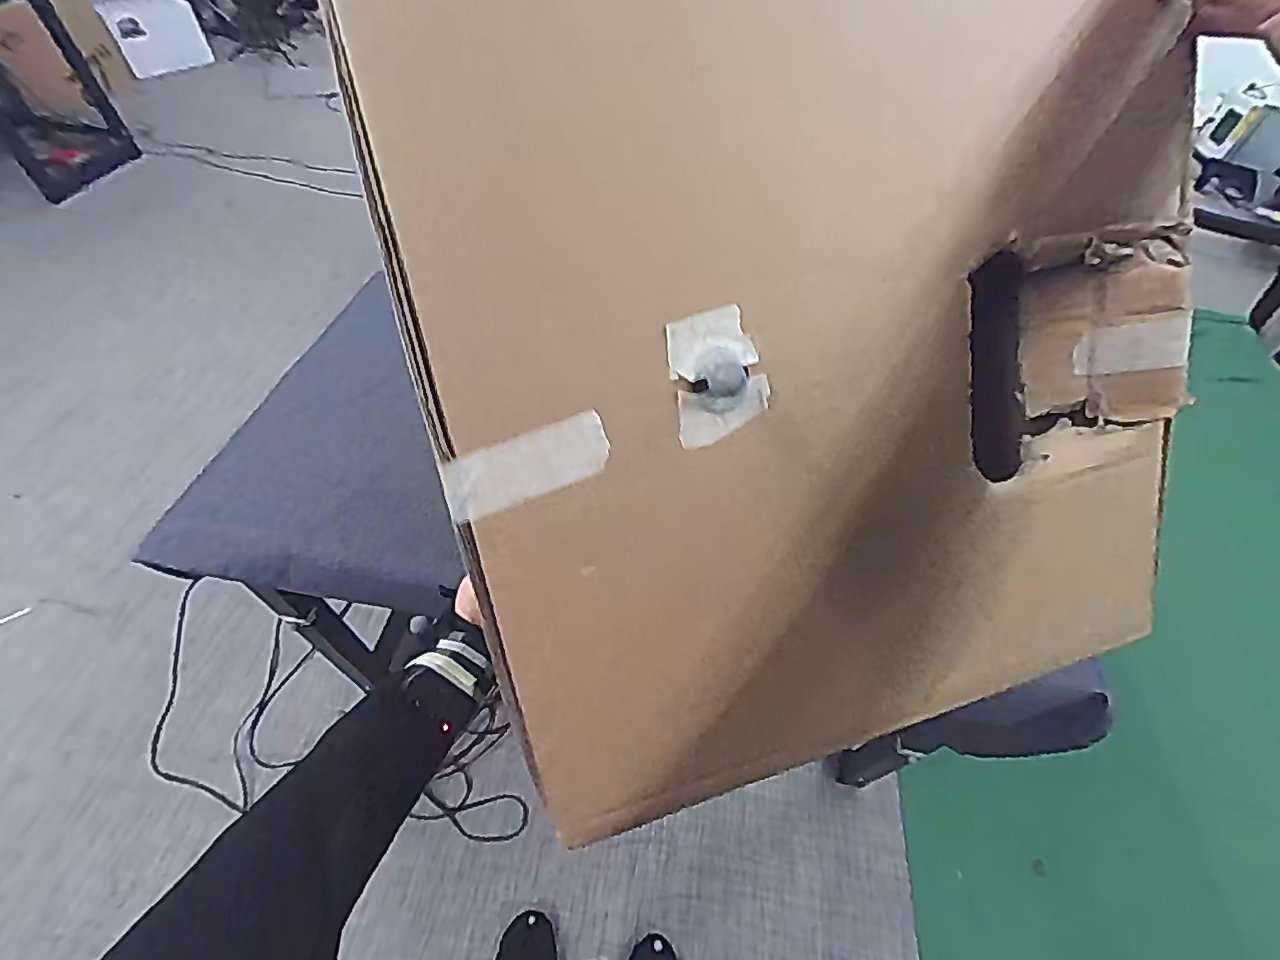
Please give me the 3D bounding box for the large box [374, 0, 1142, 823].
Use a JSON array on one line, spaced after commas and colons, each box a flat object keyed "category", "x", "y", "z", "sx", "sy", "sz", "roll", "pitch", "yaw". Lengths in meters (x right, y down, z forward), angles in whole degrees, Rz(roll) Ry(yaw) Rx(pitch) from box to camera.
[{"category": "large box", "x": 0.035, "y": -0.068, "z": 0.405, "sx": 0.320, "sy": 0.320, "sz": 0.408, "roll": -14, "pitch": 15, "yaw": -13}]
